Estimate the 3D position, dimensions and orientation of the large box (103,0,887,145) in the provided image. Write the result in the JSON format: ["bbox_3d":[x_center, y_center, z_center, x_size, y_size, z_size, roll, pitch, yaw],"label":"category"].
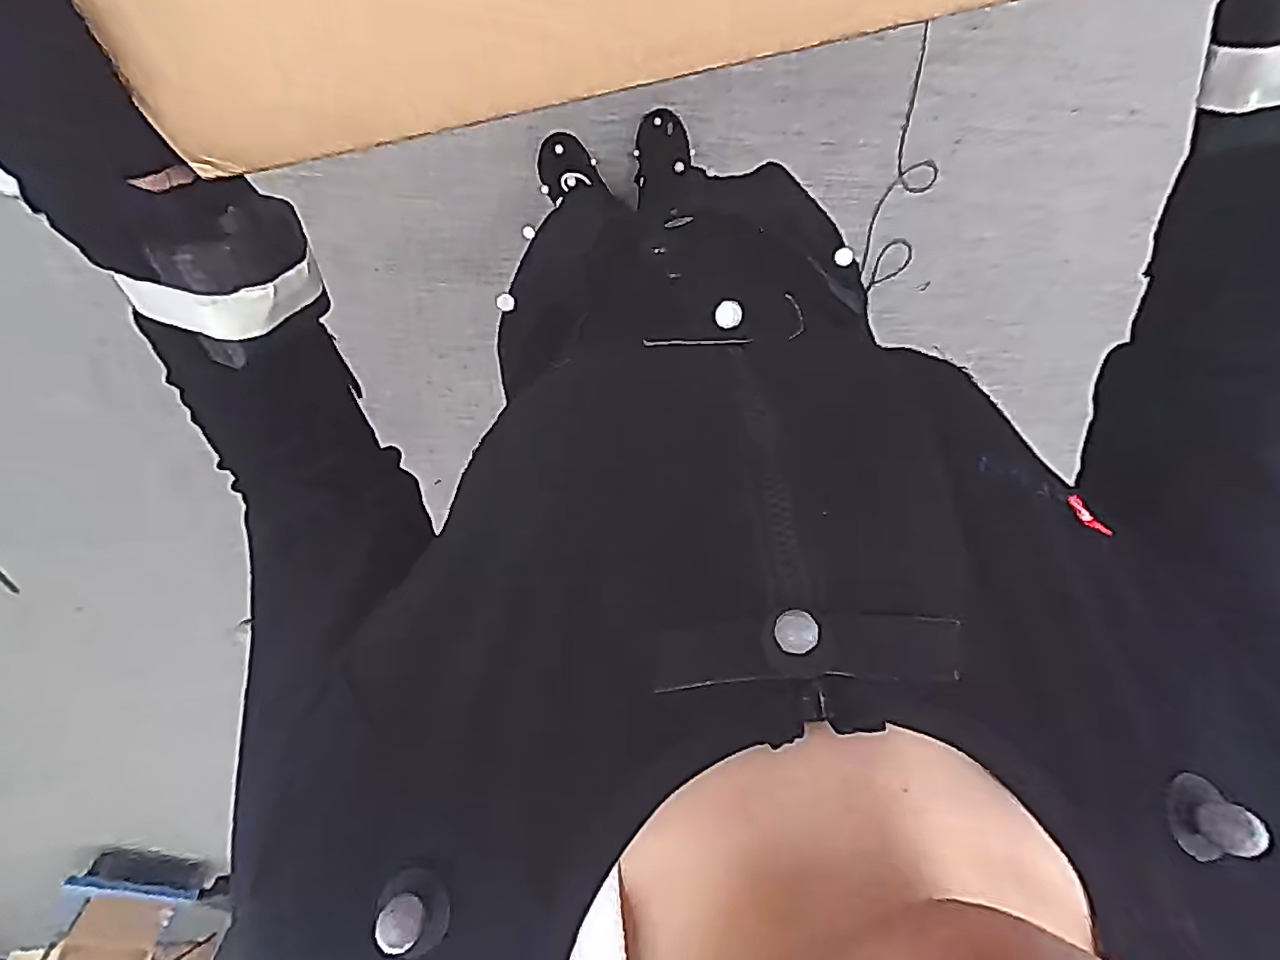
[{"bbox_3d":[-0.012,-0.372,0.160,0.408,0.320,0.320,-8,145,5],"label":"large box"}]
